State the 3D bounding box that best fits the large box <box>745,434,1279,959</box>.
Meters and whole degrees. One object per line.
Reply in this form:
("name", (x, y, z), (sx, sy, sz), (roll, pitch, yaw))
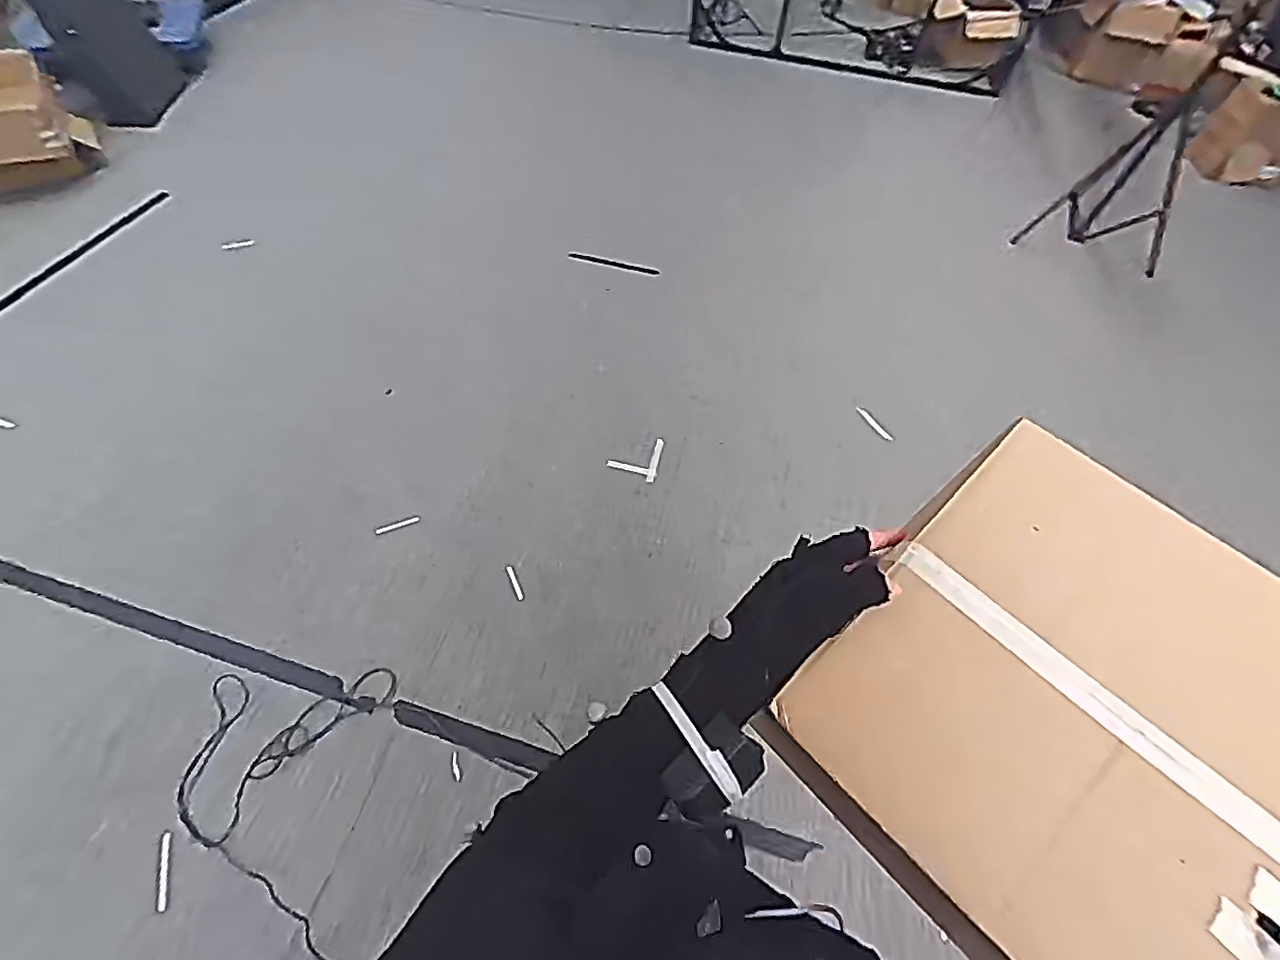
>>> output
("large box", (0.352, 0.240, 0.483), (0.320, 0.320, 0.408), (-43, 69, -11))
